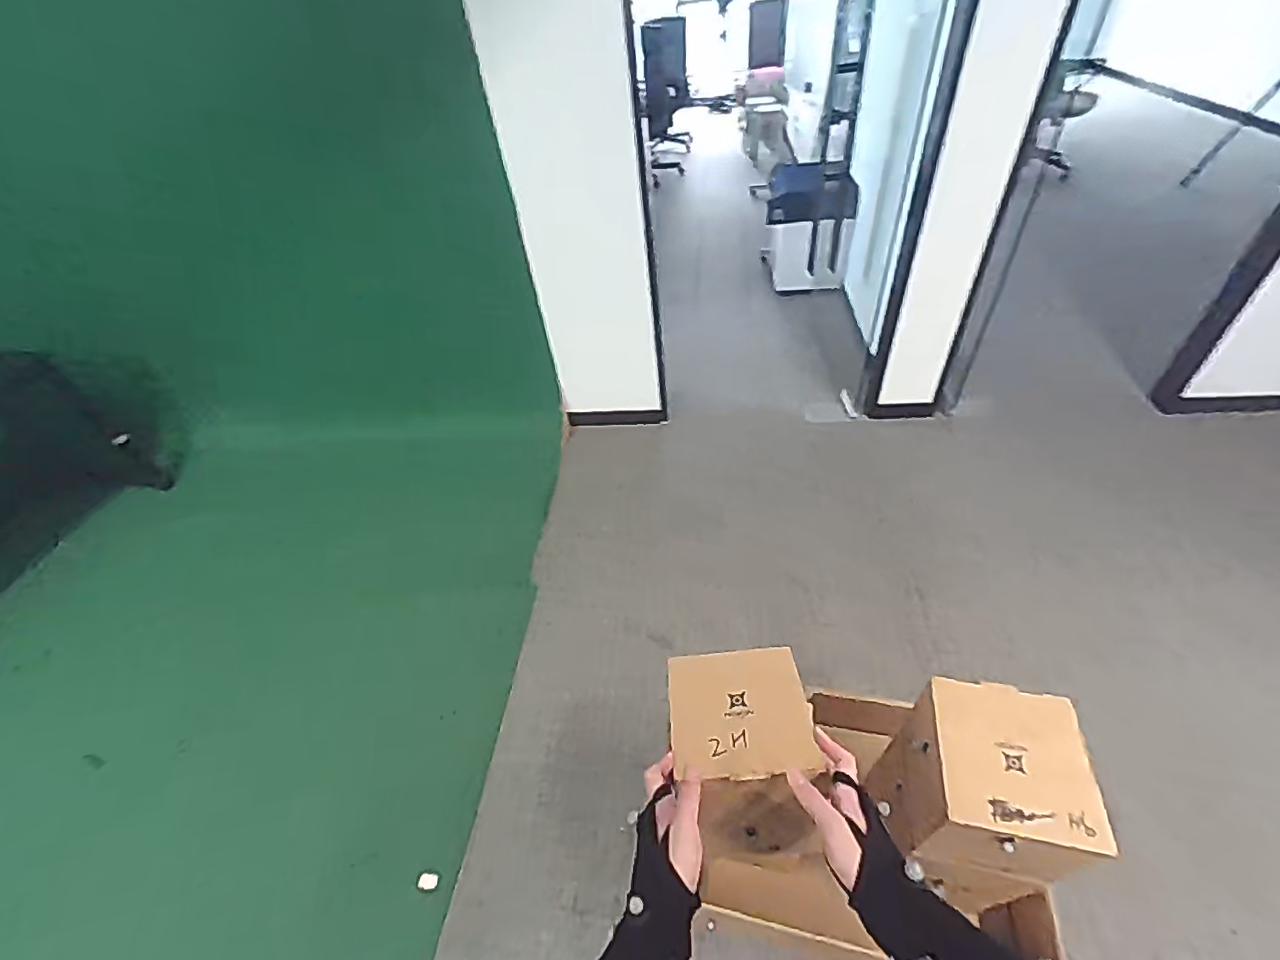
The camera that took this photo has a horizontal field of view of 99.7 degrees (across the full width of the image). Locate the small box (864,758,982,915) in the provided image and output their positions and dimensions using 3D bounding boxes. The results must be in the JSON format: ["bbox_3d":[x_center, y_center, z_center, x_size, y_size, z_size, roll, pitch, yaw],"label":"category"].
[{"bbox_3d":[0.490,0.616,0.934,0.168,0.176,0.179,7,46,14],"label":"small box"}]

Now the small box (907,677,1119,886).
[{"bbox_3d":[0.457,0.389,0.702,0.168,0.176,0.179,5,46,15],"label":"small box"}]

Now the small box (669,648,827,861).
[{"bbox_3d":[0.127,0.343,0.685,0.168,0.176,0.179,-7,30,4],"label":"small box"}]

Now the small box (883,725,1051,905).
[{"bbox_3d":[0.473,0.505,0.817,0.168,0.176,0.179,6,47,15],"label":"small box"}]
